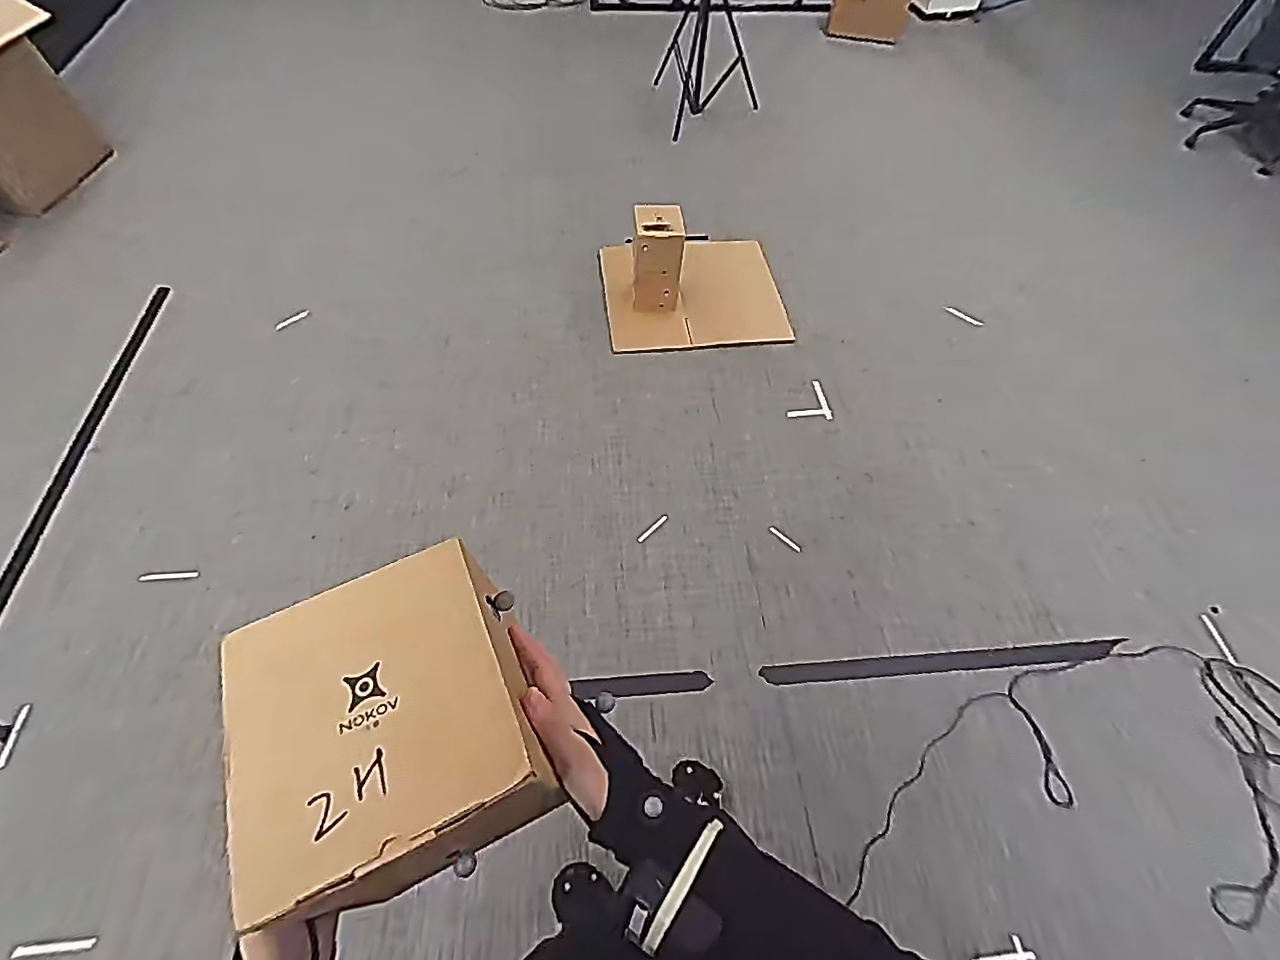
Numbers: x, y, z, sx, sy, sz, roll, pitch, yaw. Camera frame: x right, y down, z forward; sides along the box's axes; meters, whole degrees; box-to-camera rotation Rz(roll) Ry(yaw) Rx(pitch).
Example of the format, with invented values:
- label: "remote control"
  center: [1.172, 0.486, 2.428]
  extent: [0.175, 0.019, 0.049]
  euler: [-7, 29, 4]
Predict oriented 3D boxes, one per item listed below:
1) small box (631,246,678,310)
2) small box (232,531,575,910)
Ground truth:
- label: "small box"
  center: [0.051, -0.774, 2.079]
  extent: [0.168, 0.176, 0.179]
  euler: [-1, 58, -5]
- label: "small box"
  center: [-0.161, 0.173, 0.403]
  extent: [0.168, 0.176, 0.179]
  euler: [-23, 59, -11]
